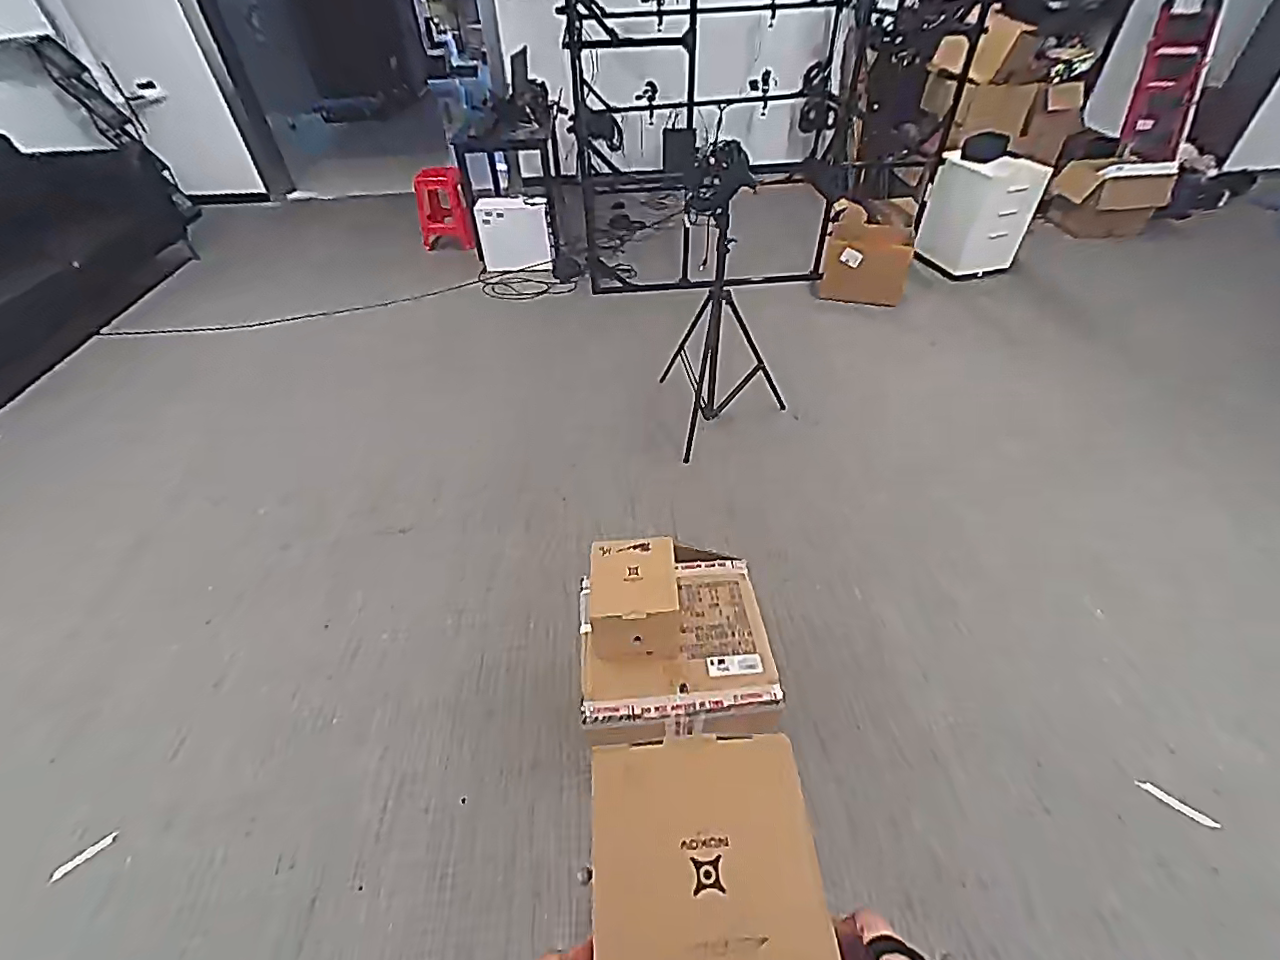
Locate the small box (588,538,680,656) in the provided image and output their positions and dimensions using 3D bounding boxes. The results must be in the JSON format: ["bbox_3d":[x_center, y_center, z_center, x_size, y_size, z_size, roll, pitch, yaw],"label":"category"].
[{"bbox_3d":[-0.009,0.239,1.080,0.168,0.176,0.179,-4,46,1],"label":"small box"}]
